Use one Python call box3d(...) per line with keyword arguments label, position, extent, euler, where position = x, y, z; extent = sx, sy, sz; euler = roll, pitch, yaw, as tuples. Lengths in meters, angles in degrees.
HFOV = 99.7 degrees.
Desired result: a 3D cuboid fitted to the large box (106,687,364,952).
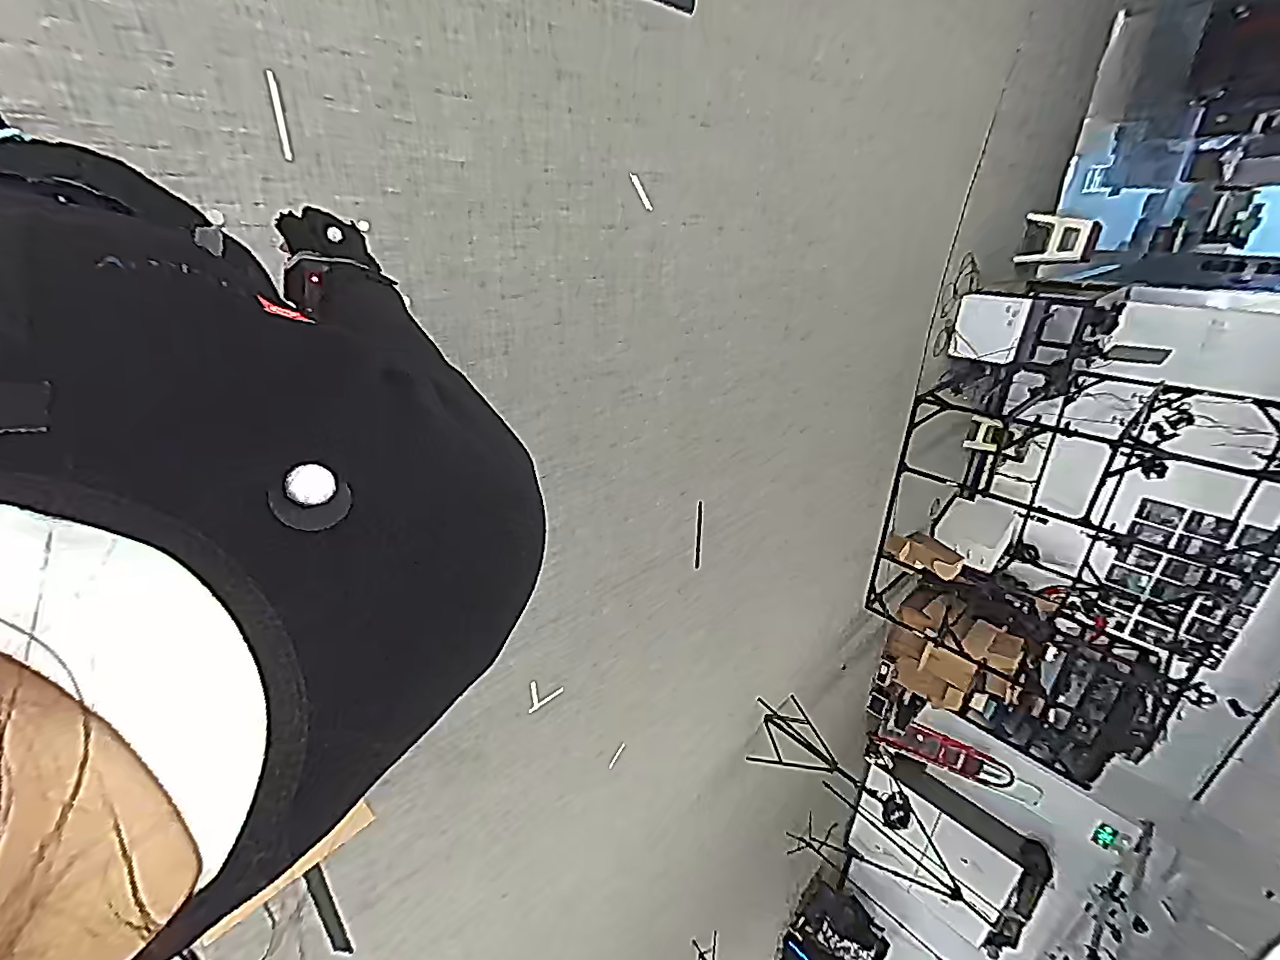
box3d(label="large box", position=(-0.998, 0.821, 1.361), extent=(0.408, 0.320, 0.320), euler=(-30, 130, -35))
